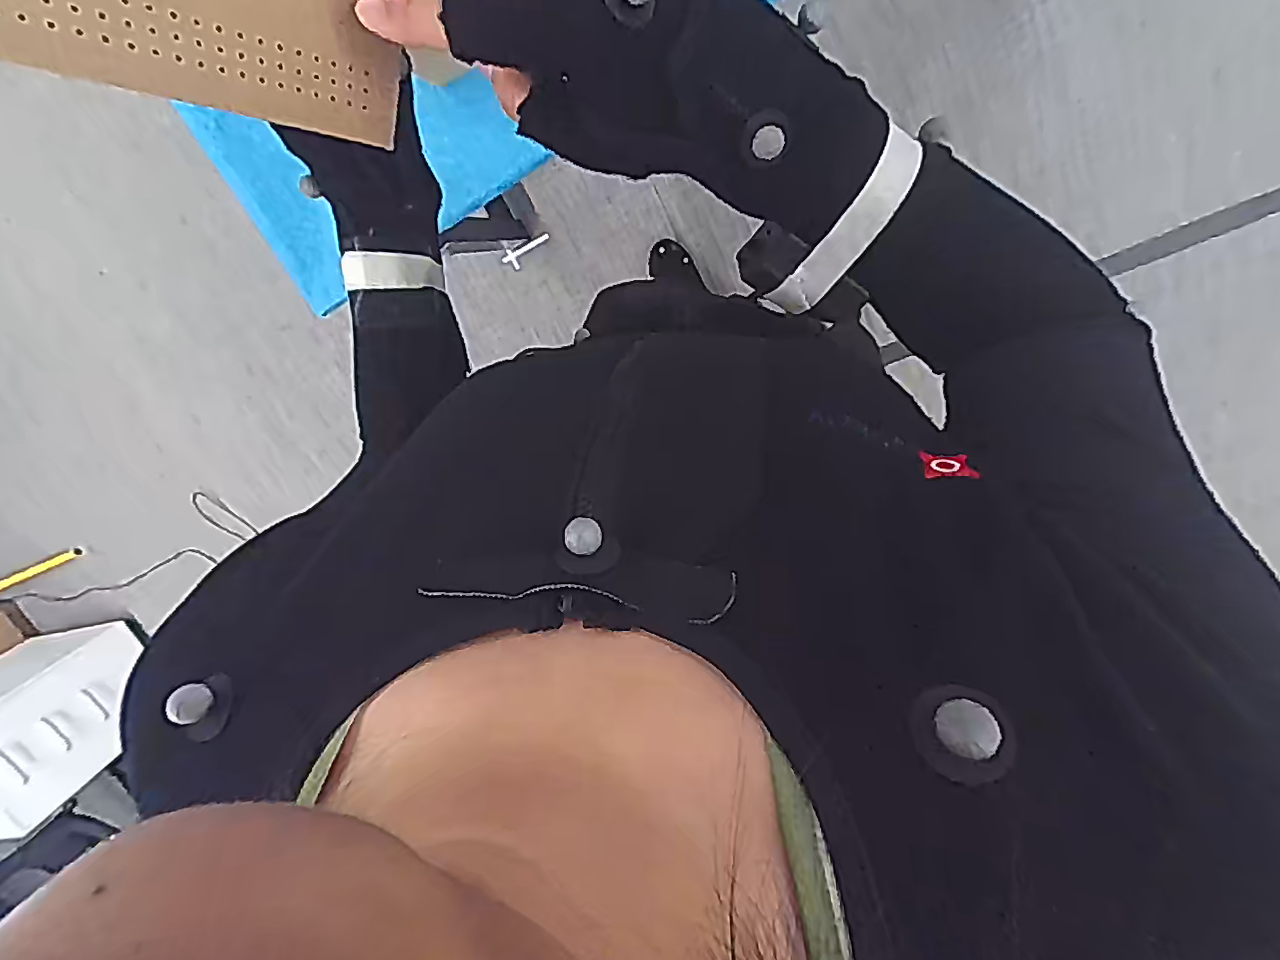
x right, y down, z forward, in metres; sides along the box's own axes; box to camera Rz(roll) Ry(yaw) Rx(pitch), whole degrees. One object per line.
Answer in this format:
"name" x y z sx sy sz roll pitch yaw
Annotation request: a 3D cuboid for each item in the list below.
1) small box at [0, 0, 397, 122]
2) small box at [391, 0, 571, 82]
"small box" -0.194 -0.257 0.187 0.168 0.179 0.176 49 133 26
"small box" -0.185 -0.497 0.466 0.168 0.176 0.179 -18 111 15
